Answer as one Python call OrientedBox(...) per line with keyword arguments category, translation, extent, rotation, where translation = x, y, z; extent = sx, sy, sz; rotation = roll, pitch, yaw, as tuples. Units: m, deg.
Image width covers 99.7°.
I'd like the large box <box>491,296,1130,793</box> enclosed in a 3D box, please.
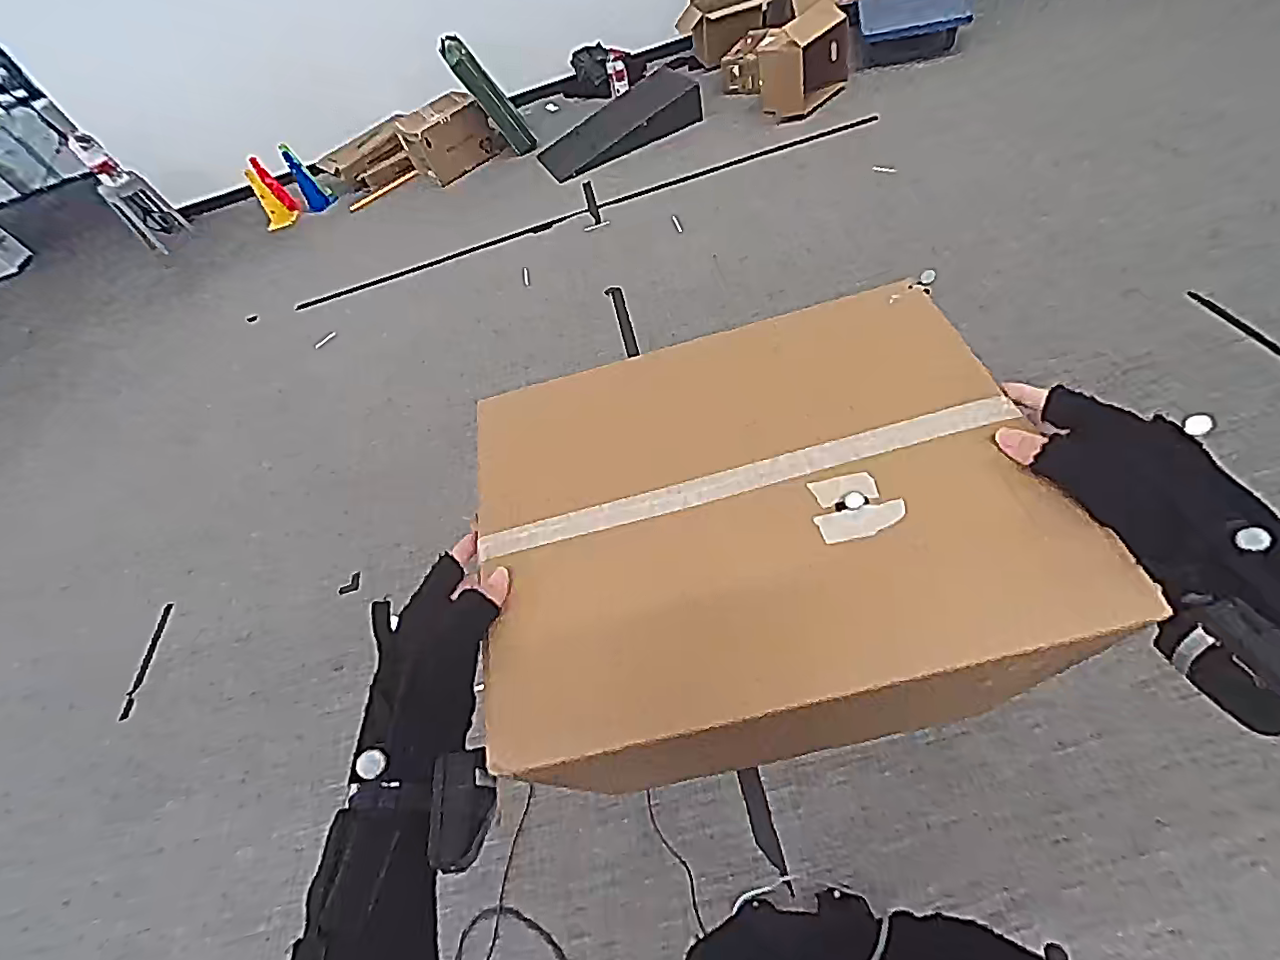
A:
OrientedBox(category="large box", translation=(0.105, 0.086, 0.539), extent=(0.408, 0.320, 0.320), rotation=(-15, 57, 3))
